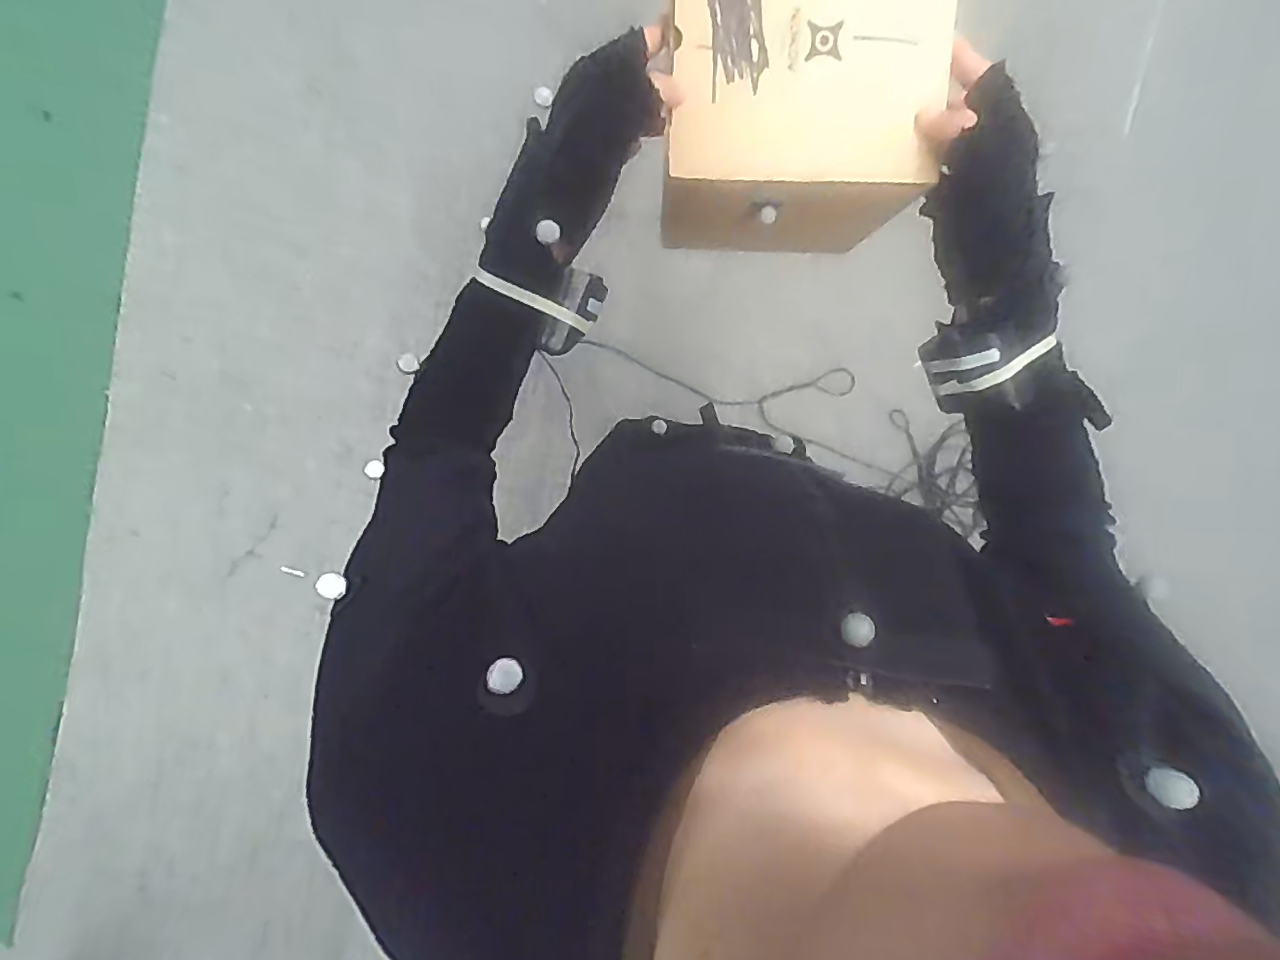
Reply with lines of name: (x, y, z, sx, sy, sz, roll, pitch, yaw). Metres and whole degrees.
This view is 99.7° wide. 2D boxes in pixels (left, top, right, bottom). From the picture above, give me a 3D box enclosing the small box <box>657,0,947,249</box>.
small box: (0.103, -0.286, 0.414, 0.179, 0.176, 0.168, 1, 98, 1)
